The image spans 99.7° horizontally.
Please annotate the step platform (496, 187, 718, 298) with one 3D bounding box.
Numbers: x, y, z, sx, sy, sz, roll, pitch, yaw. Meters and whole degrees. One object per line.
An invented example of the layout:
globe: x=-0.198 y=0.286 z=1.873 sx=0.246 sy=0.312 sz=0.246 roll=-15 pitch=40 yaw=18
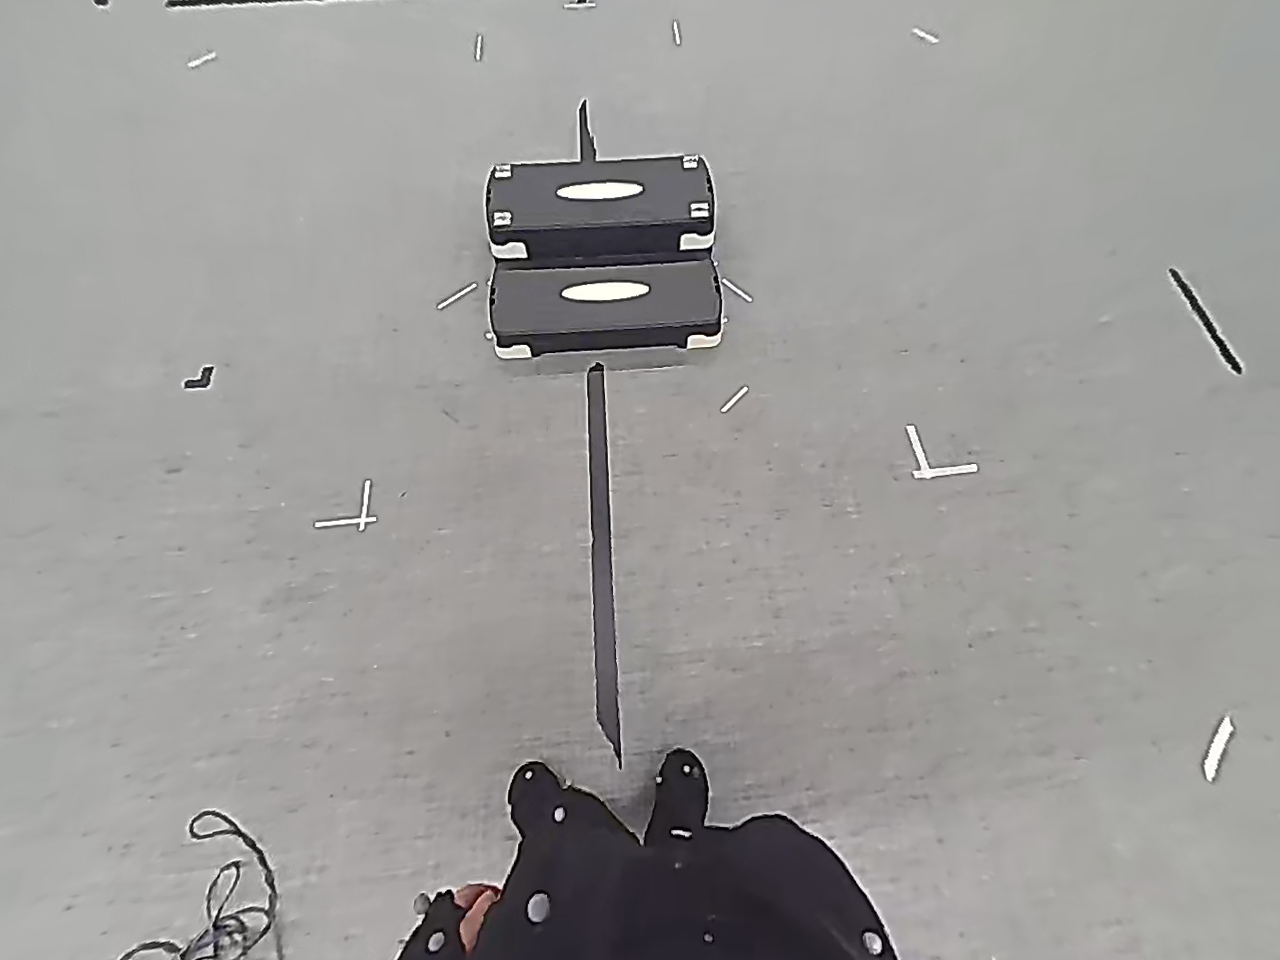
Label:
step platform: x=-0.099 y=-0.746 z=1.691 sx=0.684 sy=0.204 sz=0.286 roll=0 pitch=65 yaw=-1
